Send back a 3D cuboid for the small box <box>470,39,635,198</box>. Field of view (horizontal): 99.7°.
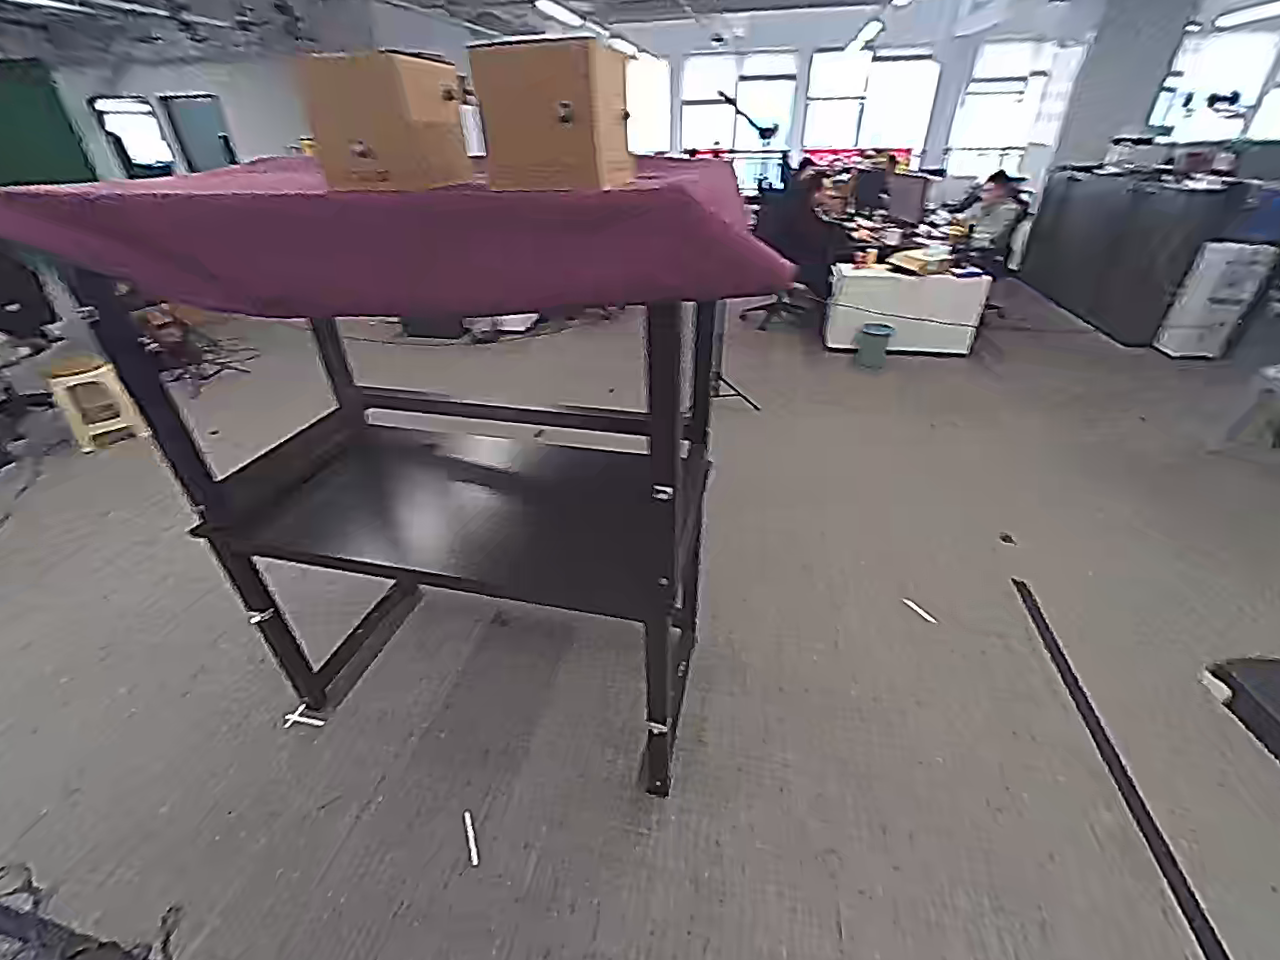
[{"bbox_3d":[-0.110,-0.506,0.771,0.179,0.176,0.168,7,32,14],"label":"small box"}]

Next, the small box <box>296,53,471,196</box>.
[{"bbox_3d":[-0.379,-0.546,0.841,0.168,0.176,0.179,5,33,11],"label":"small box"}]
